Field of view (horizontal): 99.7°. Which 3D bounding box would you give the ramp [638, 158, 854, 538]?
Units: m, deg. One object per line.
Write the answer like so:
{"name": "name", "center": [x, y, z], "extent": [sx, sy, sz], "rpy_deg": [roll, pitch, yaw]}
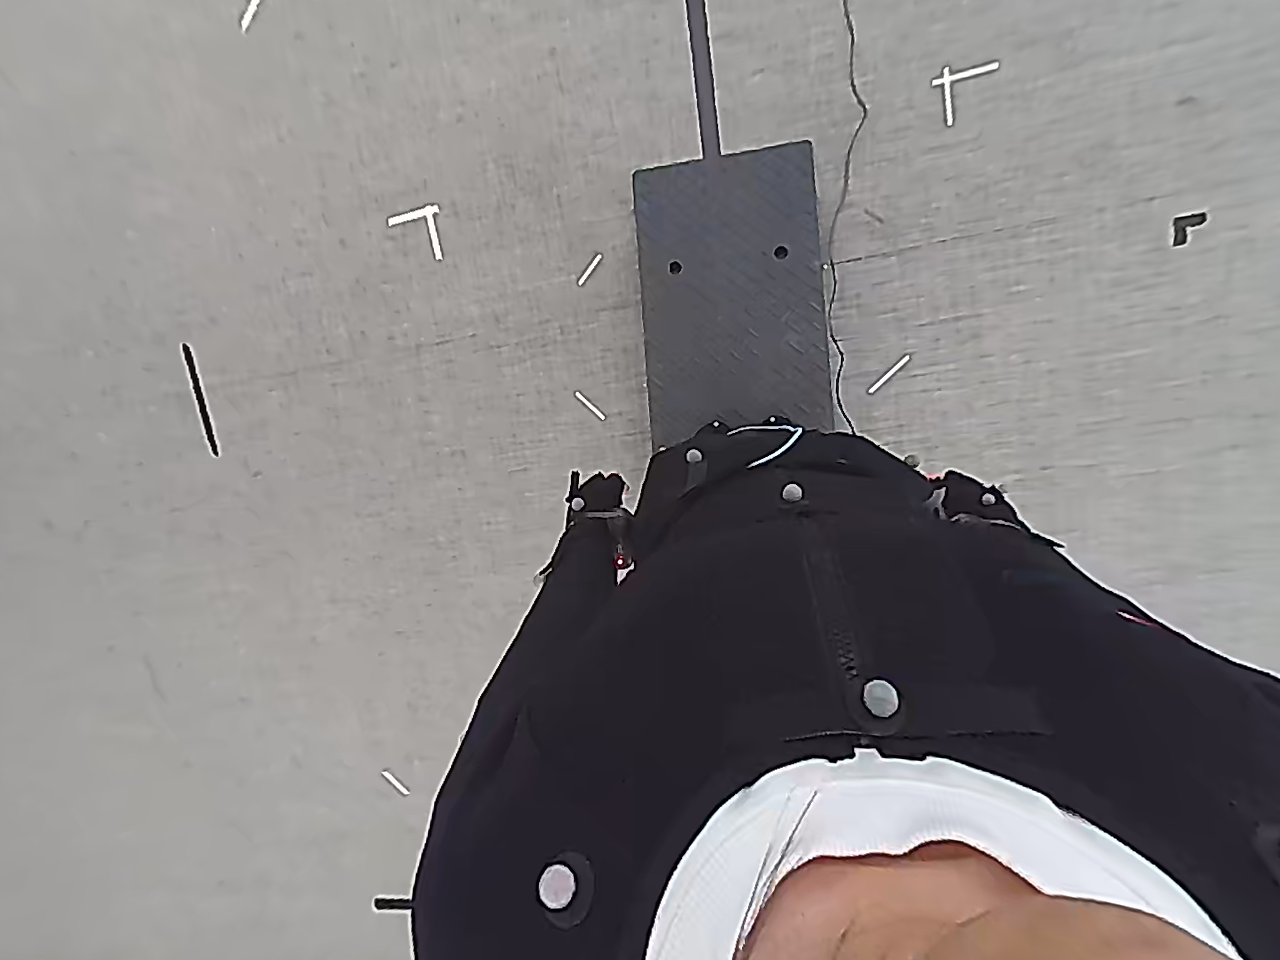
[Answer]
{"name": "ramp", "center": [0.272, -0.357, 1.485], "extent": [0.509, 0.206, 0.991], "rpy_deg": [-8, 96, 12]}
